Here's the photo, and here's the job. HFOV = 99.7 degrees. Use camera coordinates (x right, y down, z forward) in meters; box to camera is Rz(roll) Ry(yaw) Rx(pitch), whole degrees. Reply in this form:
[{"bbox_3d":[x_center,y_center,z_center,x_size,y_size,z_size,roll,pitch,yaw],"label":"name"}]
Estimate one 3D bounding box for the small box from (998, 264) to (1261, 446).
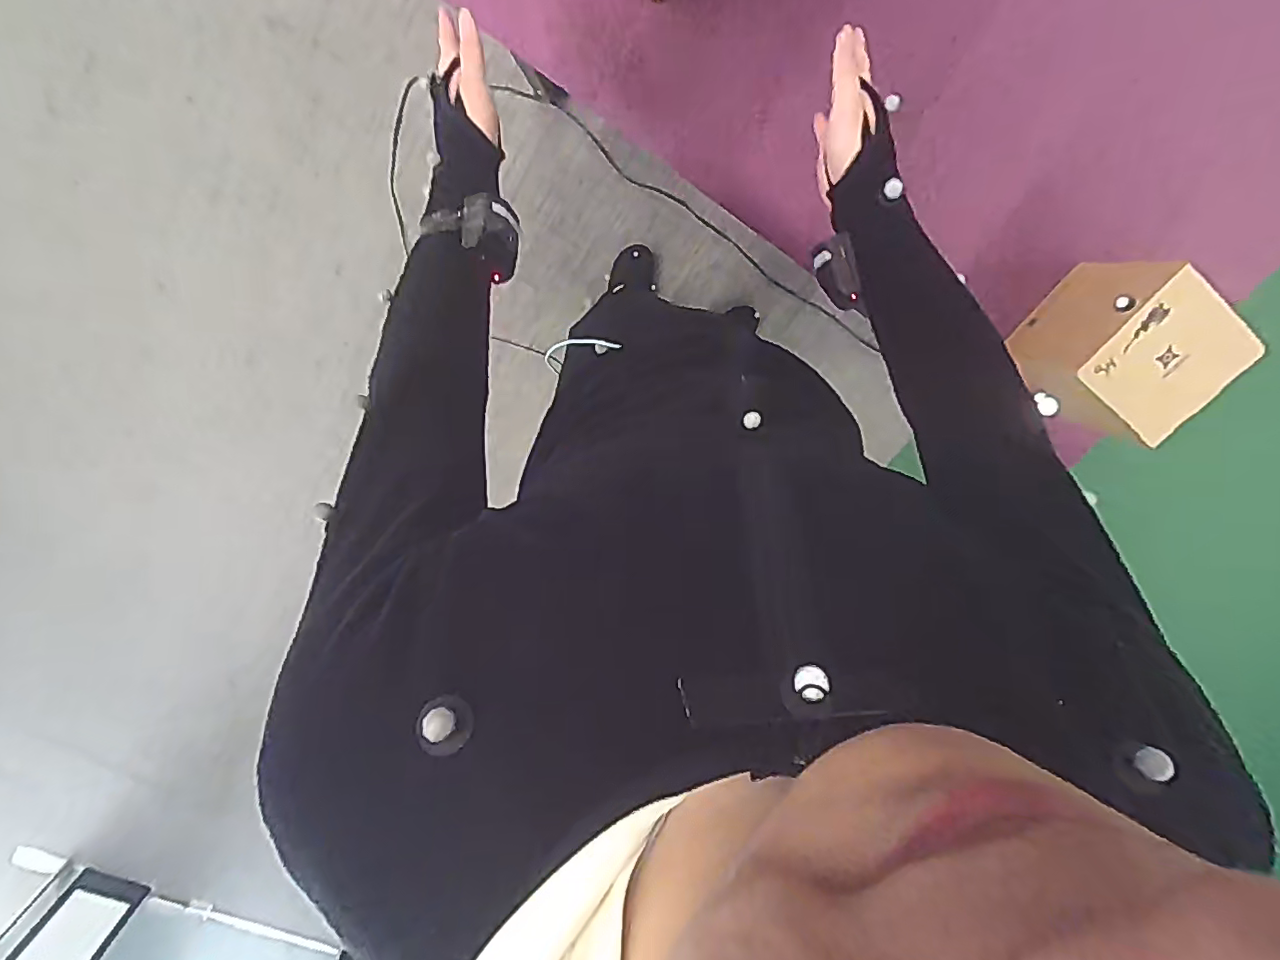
[{"bbox_3d":[0.661,-0.181,0.753,0.179,0.176,0.168,34,107,-14],"label":"small box"}]
